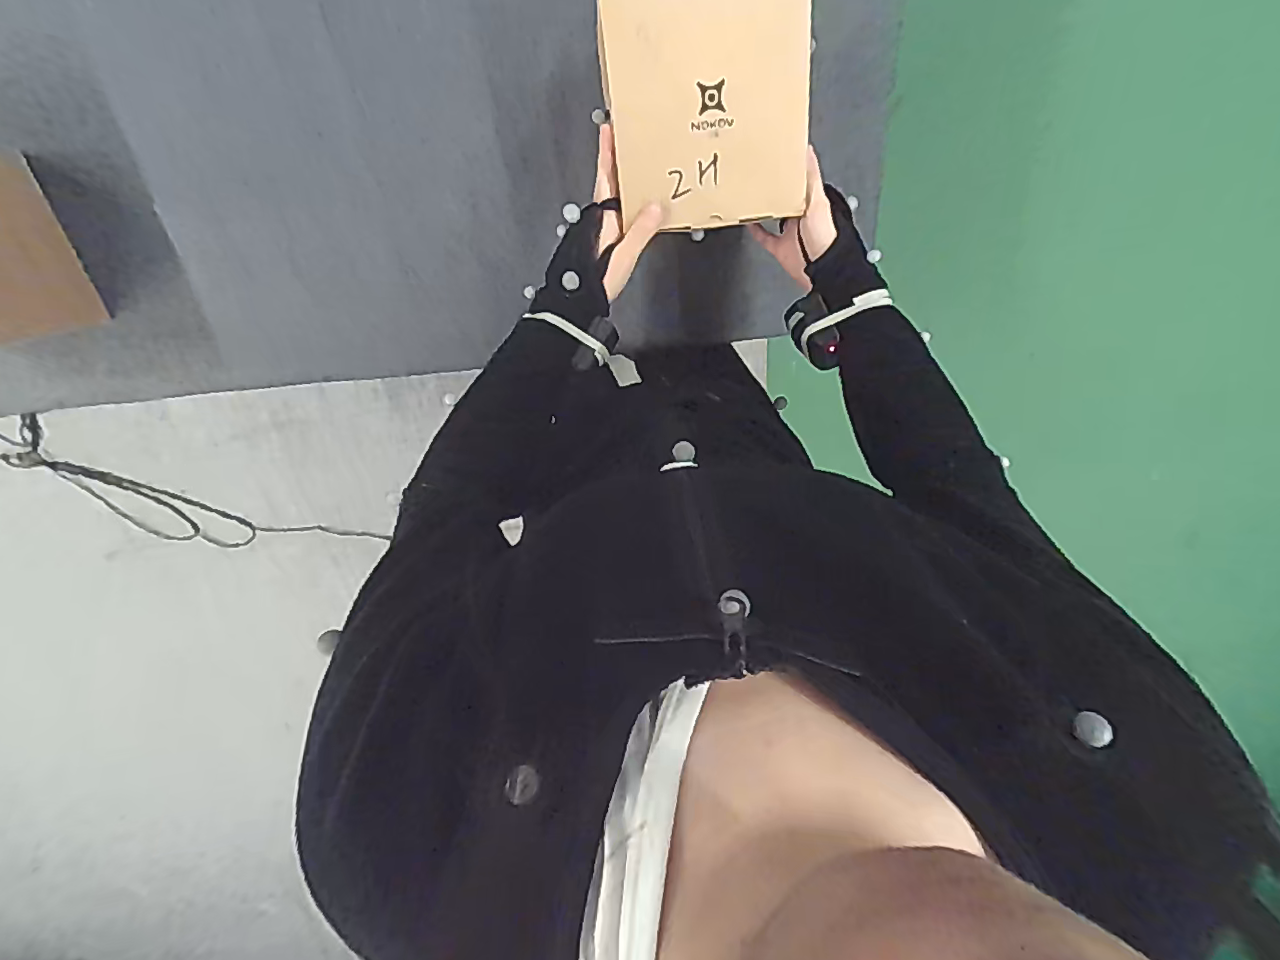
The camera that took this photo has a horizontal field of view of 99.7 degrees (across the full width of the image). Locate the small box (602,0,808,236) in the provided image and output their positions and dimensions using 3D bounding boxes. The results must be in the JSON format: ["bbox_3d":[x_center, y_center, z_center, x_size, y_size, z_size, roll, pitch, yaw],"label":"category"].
[{"bbox_3d":[0.055,-0.342,0.524,0.168,0.176,0.179,-7,117,1],"label":"small box"}]
